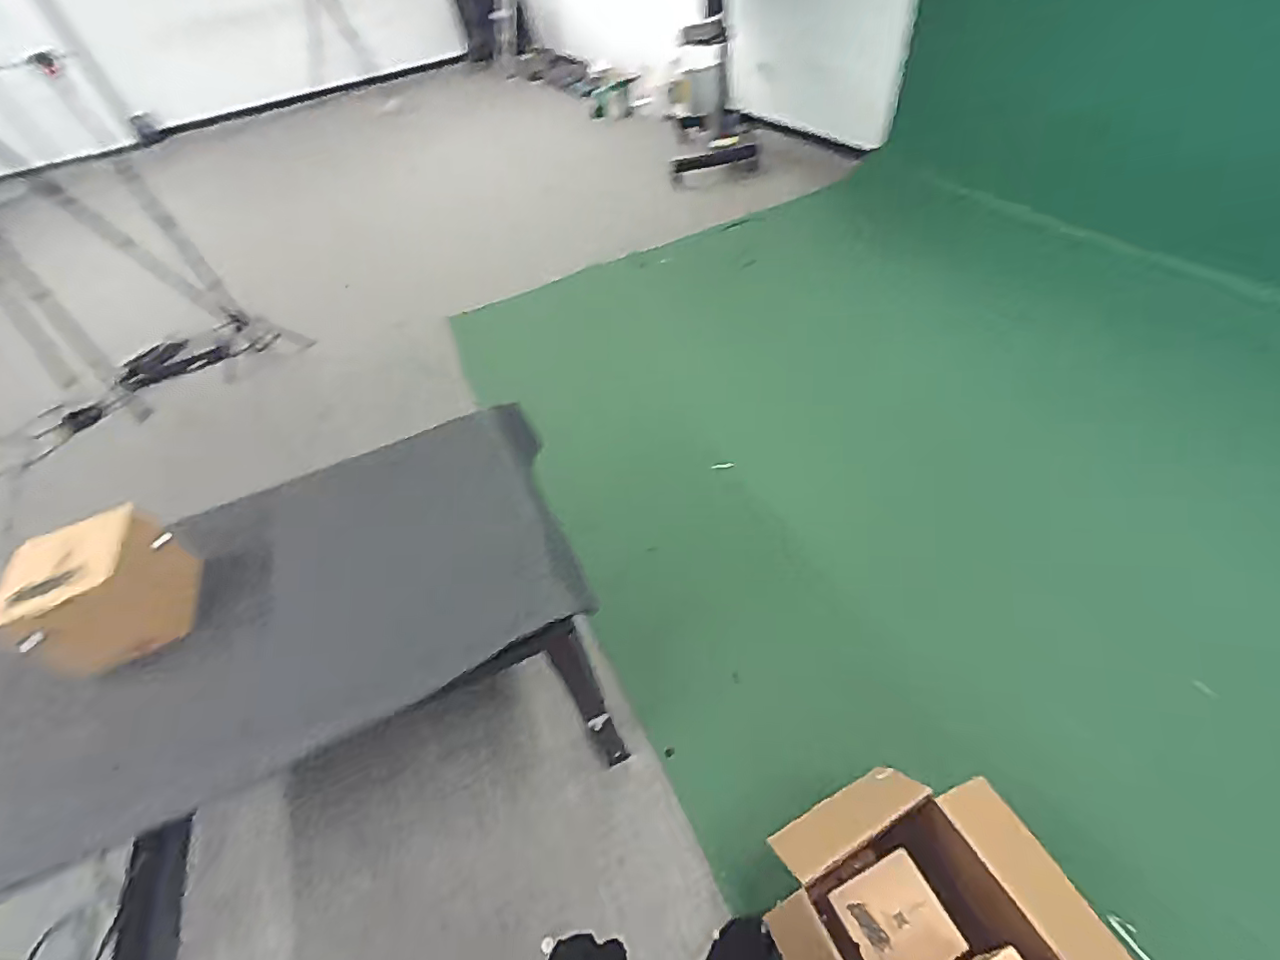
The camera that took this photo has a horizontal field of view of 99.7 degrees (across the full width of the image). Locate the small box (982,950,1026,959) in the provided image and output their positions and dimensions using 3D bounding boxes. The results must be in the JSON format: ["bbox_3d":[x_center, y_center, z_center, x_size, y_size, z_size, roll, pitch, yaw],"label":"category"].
[{"bbox_3d":[0.527,0.840,0.797,0.179,0.176,0.168,-20,44,-11],"label":"small box"}]
